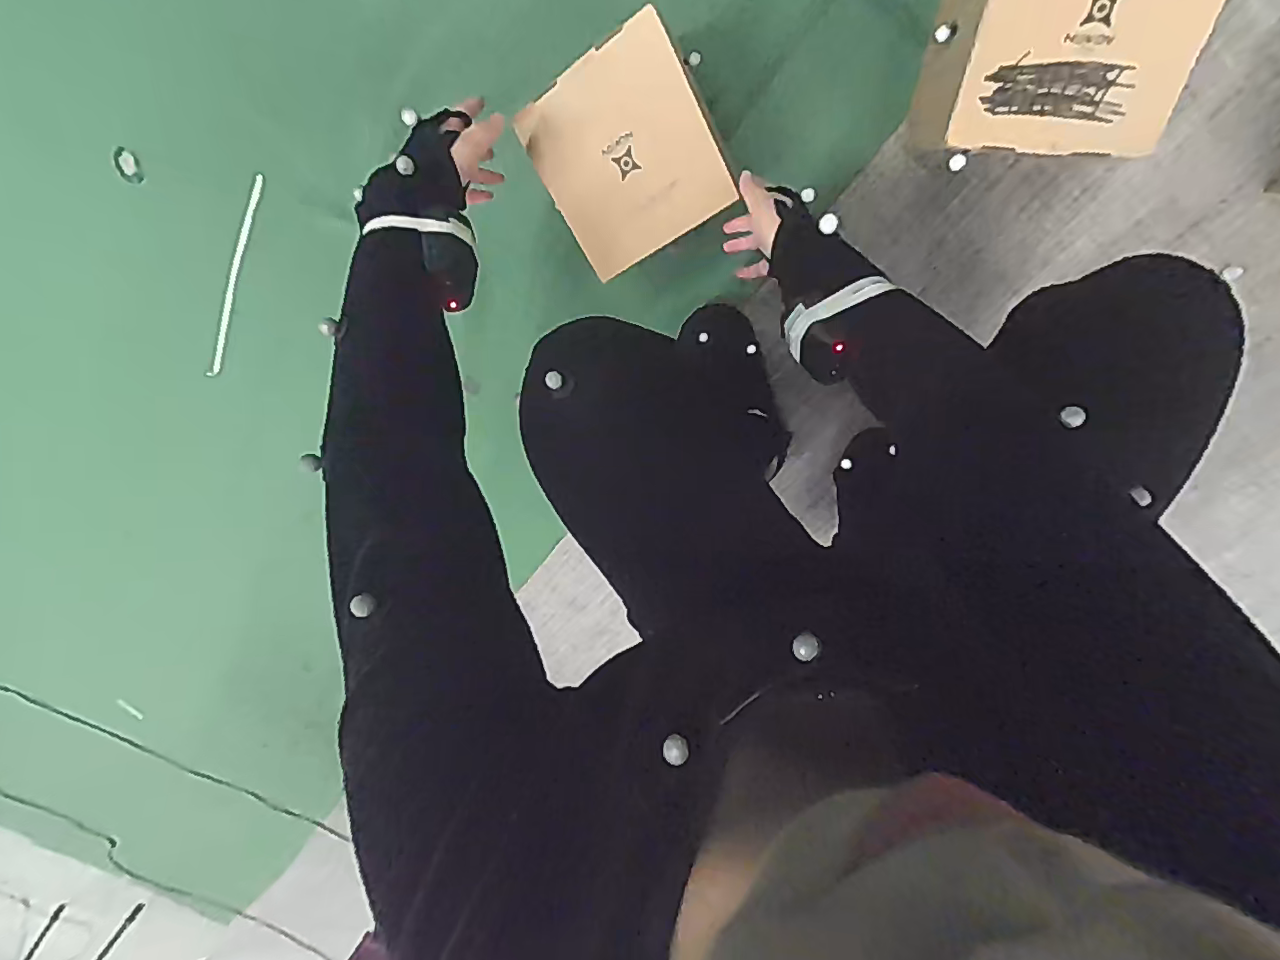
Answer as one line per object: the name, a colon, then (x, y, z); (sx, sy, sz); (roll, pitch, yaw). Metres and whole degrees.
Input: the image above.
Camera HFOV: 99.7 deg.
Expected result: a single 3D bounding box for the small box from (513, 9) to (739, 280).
small box: (-0.002, -0.351, 0.594); (0.168, 0.176, 0.179); (-23, 113, 23)
